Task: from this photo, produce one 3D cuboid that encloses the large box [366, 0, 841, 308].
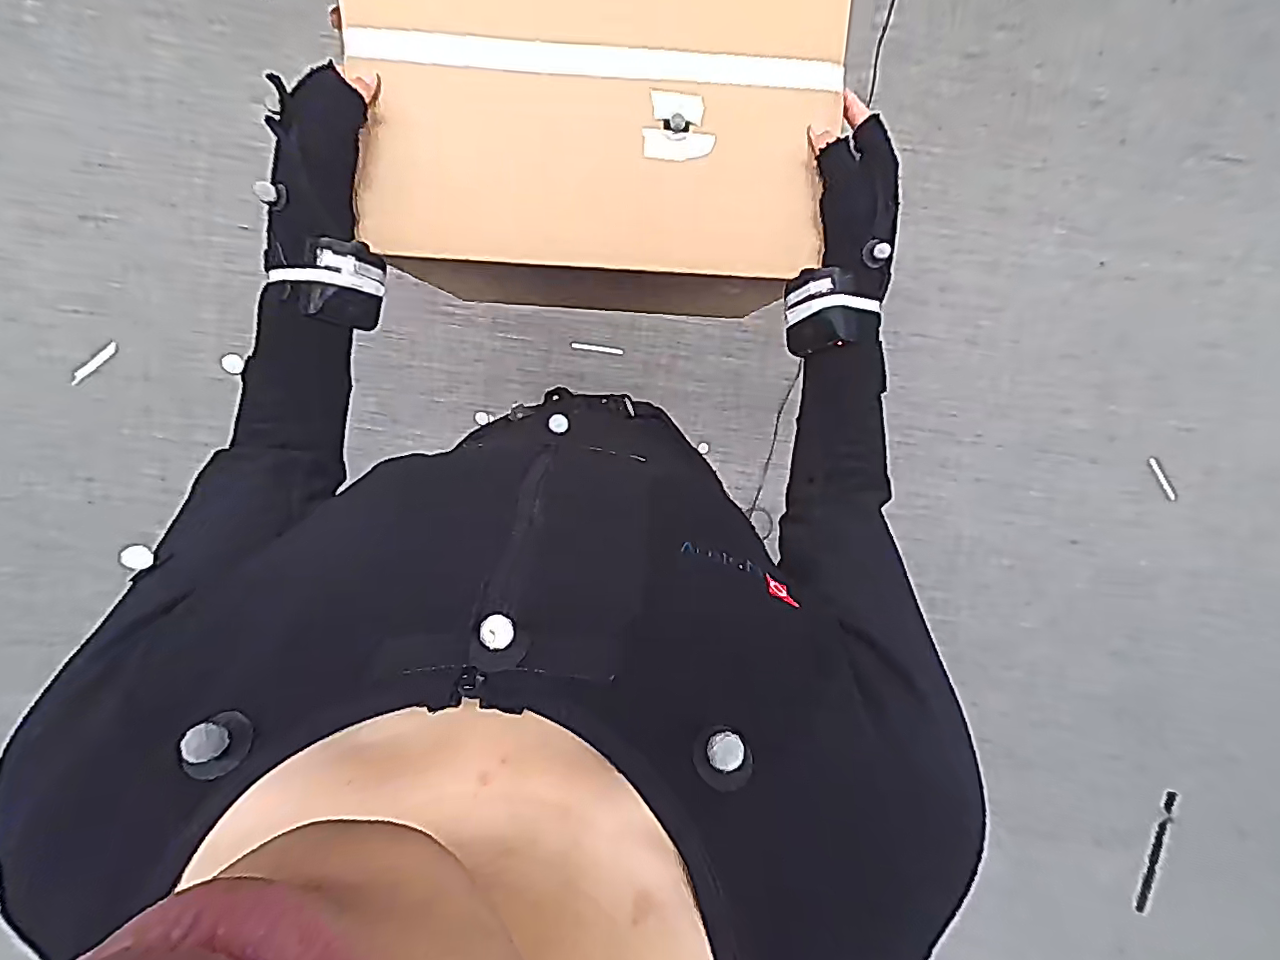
[{"bbox_3d":[-0.038,-0.376,0.607,0.408,0.320,0.320,2,102,-3],"label":"large box"}]
